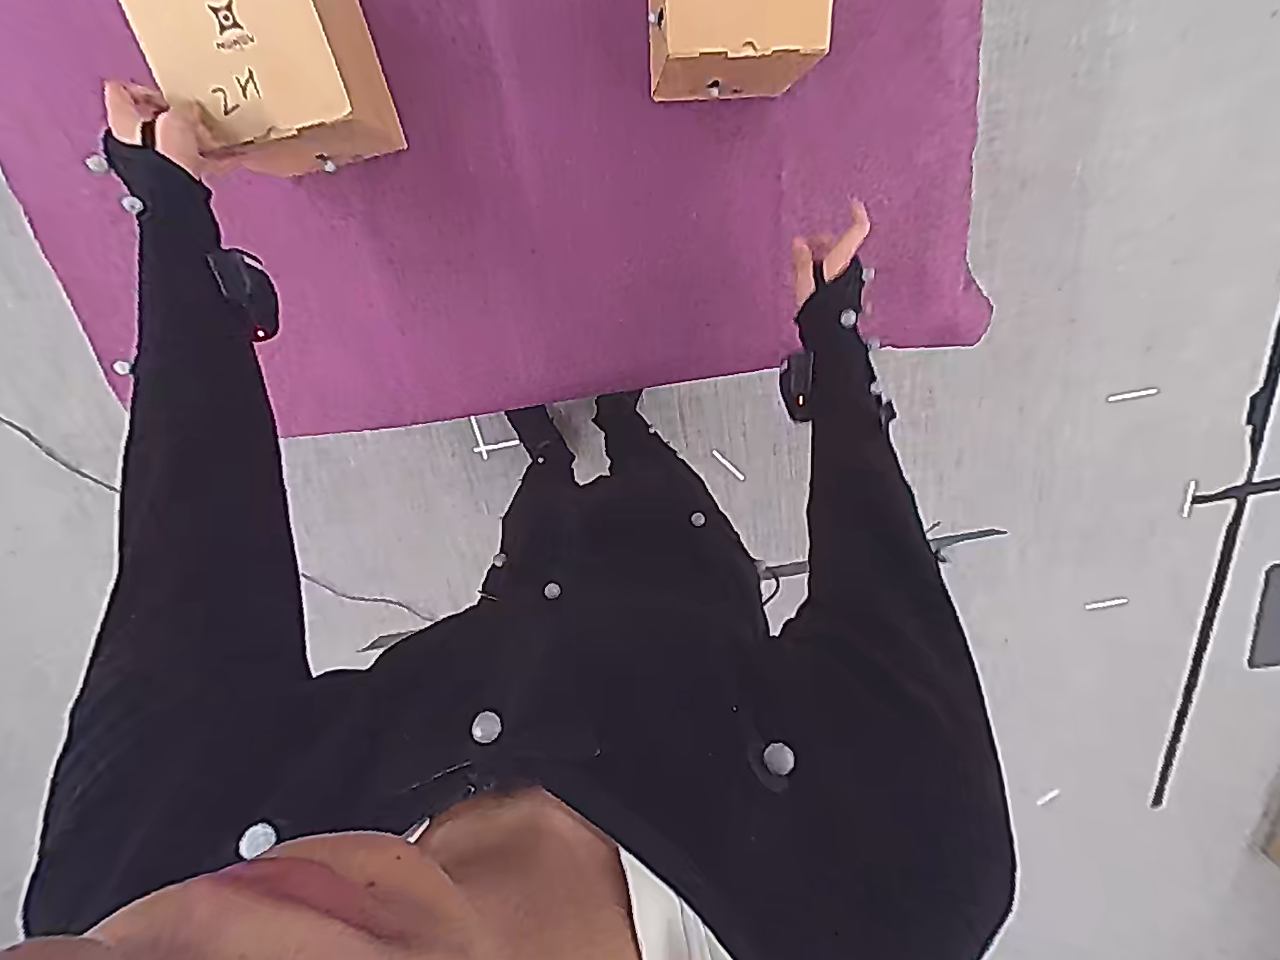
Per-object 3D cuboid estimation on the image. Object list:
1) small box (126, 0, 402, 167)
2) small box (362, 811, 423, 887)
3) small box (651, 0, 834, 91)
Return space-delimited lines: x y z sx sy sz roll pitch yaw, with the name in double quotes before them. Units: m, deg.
"small box" -0.382 -0.454 0.567 0.168 0.176 0.179 -13 113 1
"small box" -0.937 1.401 2.055 0.168 0.176 0.179 12 111 -9
"small box" 0.099 -0.540 0.571 0.168 0.176 0.179 -4 114 -2
